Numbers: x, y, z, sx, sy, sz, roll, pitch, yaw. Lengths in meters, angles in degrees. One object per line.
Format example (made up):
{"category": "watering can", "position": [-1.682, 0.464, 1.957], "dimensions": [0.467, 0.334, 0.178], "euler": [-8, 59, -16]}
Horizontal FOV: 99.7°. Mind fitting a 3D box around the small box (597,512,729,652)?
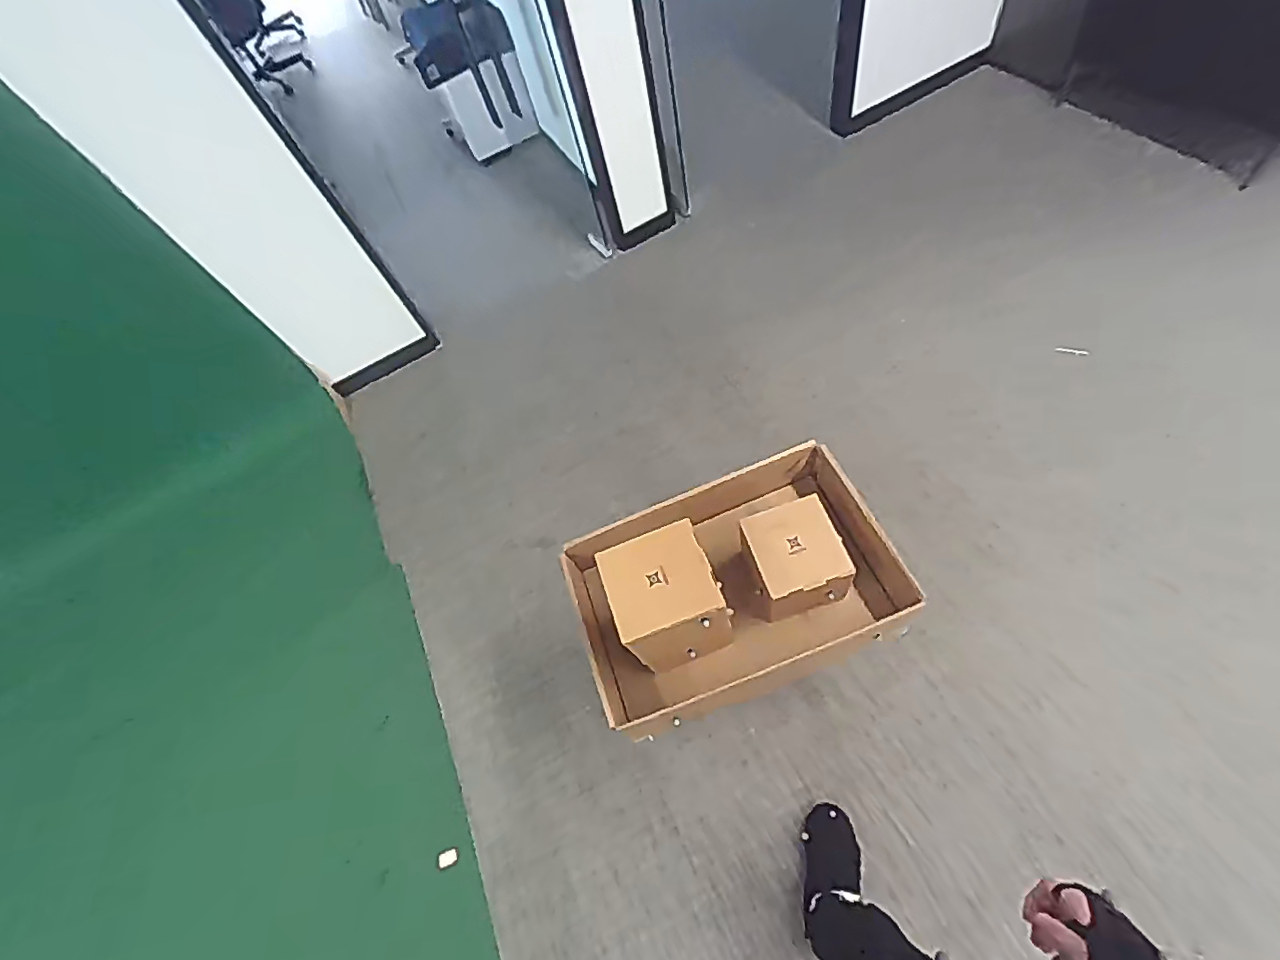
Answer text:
{"category": "small box", "position": [0.045, 0.188, 0.961], "dimensions": [0.179, 0.176, 0.168], "euler": [-22, 59, 1]}
